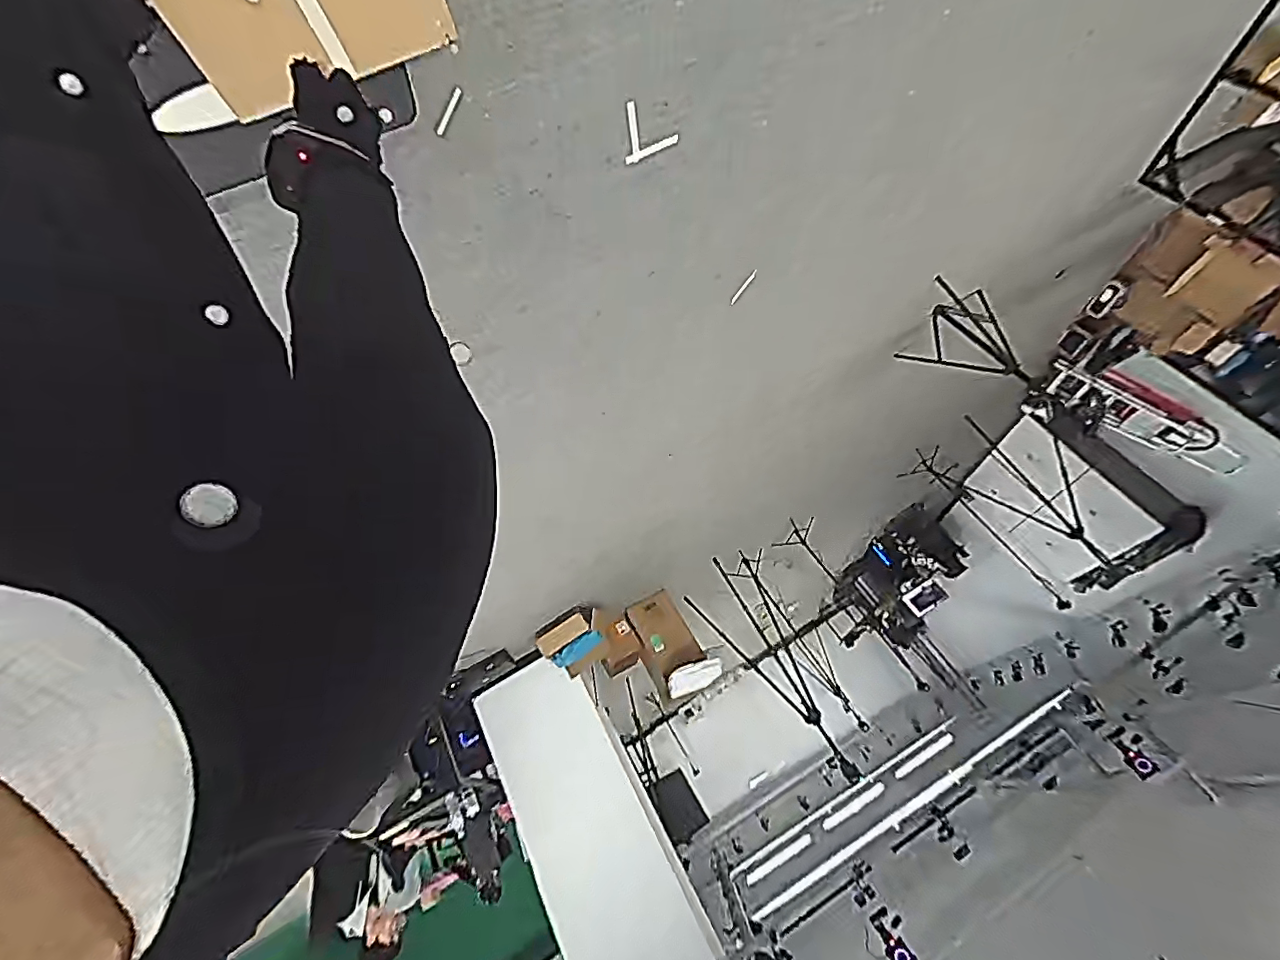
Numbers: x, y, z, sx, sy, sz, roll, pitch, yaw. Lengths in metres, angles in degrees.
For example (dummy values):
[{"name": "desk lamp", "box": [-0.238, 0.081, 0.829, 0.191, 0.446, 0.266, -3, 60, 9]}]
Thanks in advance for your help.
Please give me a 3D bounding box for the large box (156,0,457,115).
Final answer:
[{"name": "large box", "box": [-0.475, -0.752, 0.620, 0.320, 0.320, 0.408, -24, 153, -4]}]
